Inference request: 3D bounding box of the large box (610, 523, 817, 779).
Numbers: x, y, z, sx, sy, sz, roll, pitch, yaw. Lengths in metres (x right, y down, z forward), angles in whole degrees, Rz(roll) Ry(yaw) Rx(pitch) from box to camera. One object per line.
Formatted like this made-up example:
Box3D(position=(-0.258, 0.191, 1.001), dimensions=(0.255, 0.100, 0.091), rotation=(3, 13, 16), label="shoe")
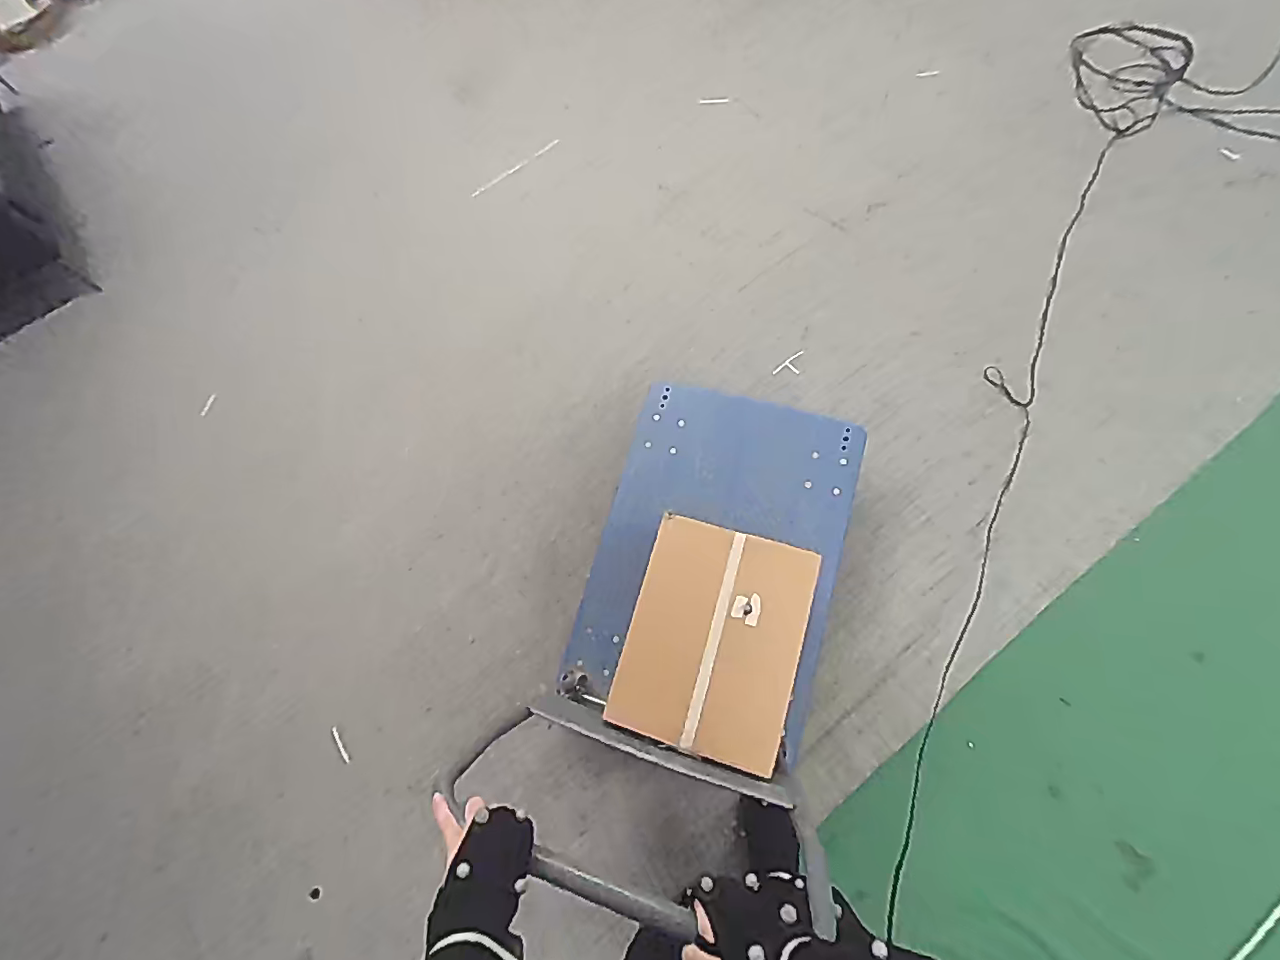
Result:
Box3D(position=(0.162, 0.350, 1.161), dimensions=(0.320, 0.320, 0.408), rotation=(15, 76, 11), label="large box")
